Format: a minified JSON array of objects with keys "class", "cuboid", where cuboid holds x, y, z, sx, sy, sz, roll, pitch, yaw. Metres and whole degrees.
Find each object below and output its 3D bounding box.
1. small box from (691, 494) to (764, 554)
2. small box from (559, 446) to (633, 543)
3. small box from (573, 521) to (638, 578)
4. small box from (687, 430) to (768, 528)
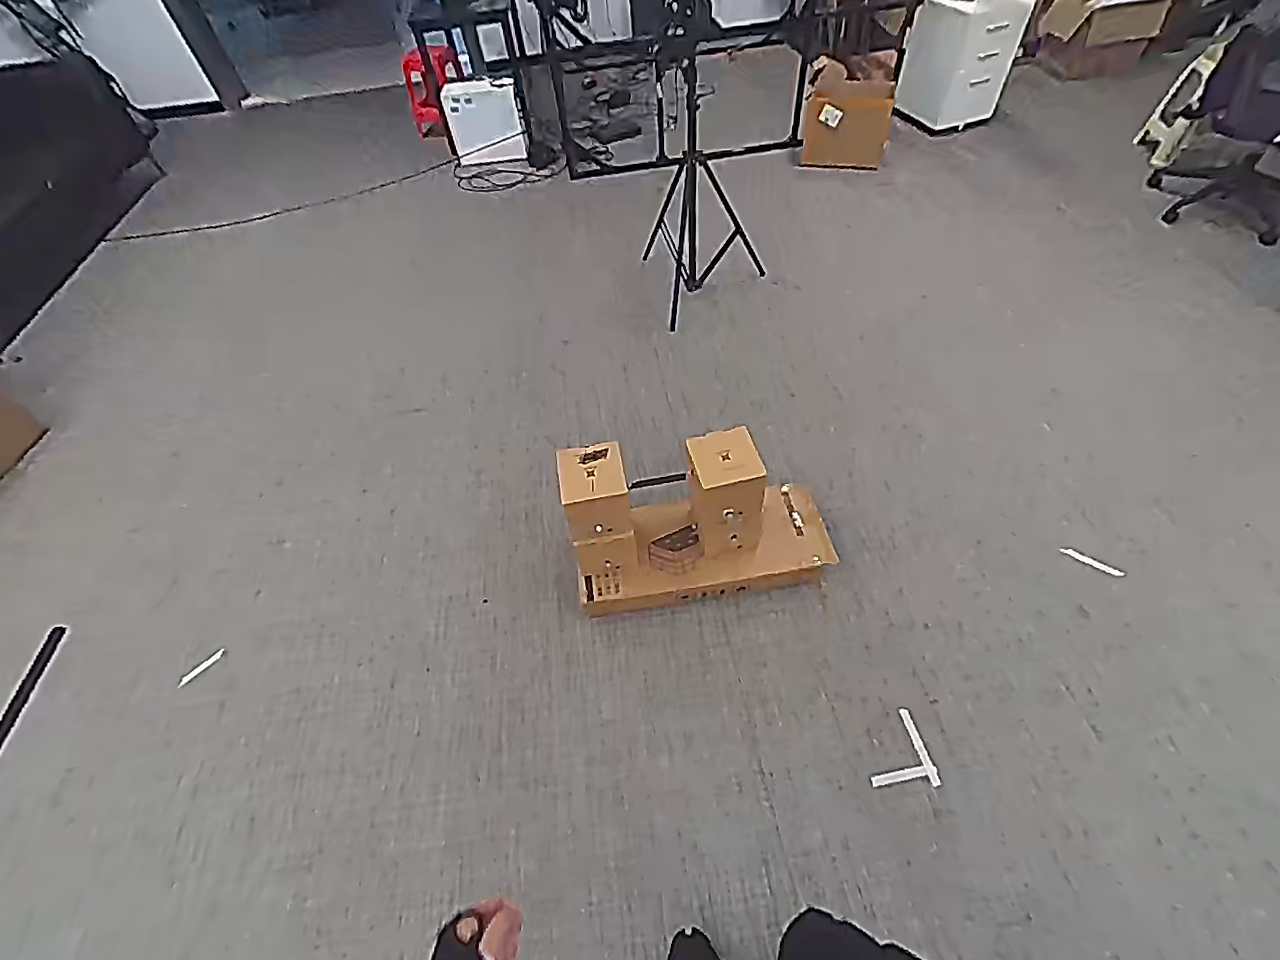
[{"class":"small box","cuboid":[0.244,0.098,1.551,0.168,0.176,0.179,-10,52,-4]},{"class":"small box","cuboid":[-0.115,0.040,1.419,0.168,0.176,0.179,-10,52,-3]},{"class":"small box","cuboid":[-0.100,0.153,1.537,0.168,0.176,0.179,-9,51,-2]},{"class":"small box","cuboid":[0.223,0.000,1.424,0.168,0.176,0.179,-13,52,-4]}]
